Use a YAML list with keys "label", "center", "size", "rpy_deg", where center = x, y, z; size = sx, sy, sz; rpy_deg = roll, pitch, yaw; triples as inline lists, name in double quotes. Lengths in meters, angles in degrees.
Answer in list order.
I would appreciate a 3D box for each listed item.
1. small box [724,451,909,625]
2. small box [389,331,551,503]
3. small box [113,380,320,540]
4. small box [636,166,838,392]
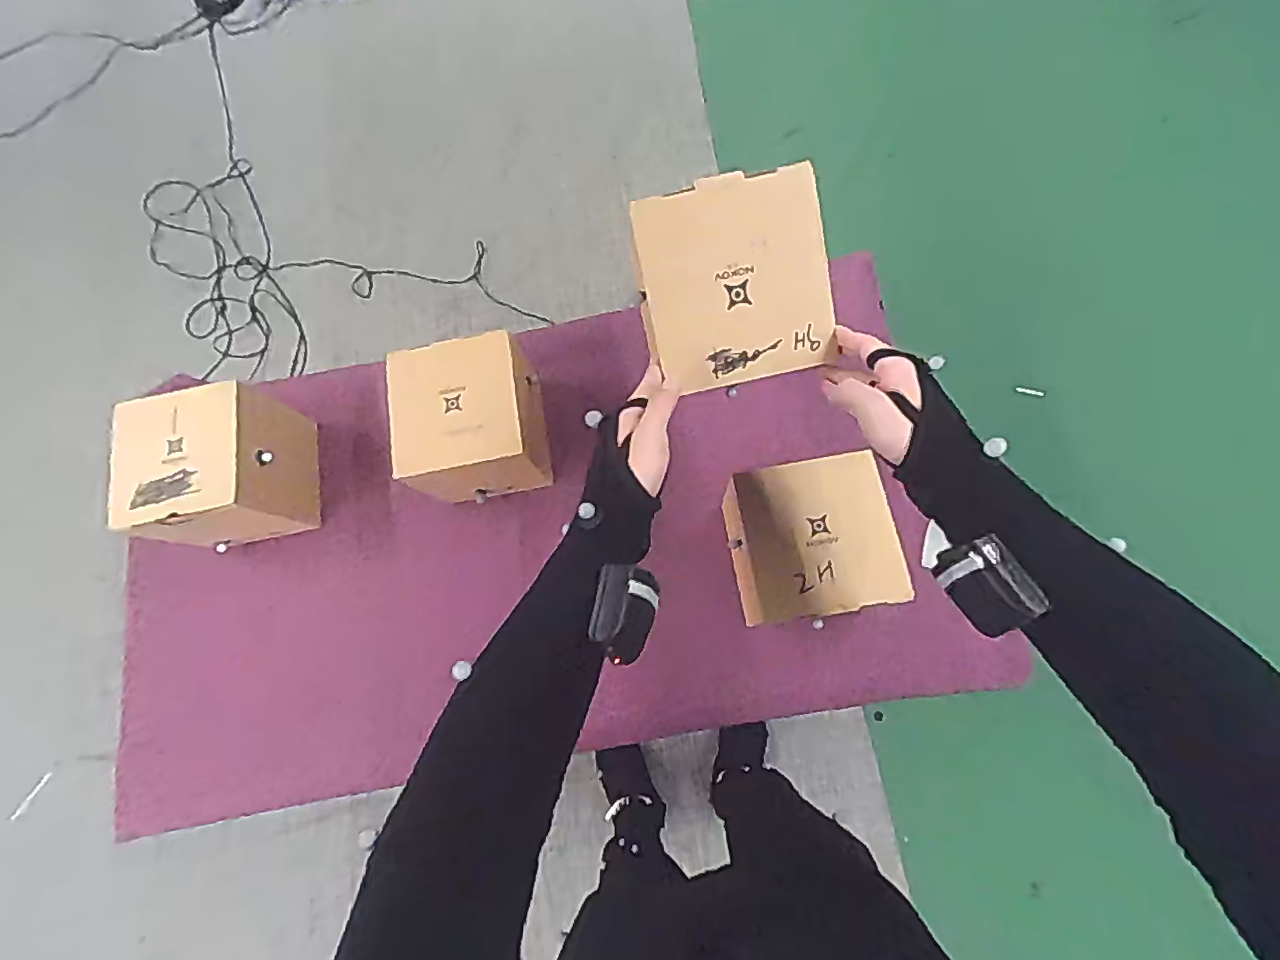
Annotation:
- label: "small box"
  center: [0.203, 0.082, 0.680]
  size: [0.168, 0.176, 0.179]
  rpy_deg: [-9, 74, 3]
- label: "small box"
  center: [-0.231, -0.079, 0.761]
  size: [0.168, 0.176, 0.179]
  rpy_deg: [-10, 75, 2]
- label: "small box"
  center: [-0.584, -0.016, 0.768]
  size: [0.168, 0.176, 0.179]
  rpy_deg: [-11, 74, 1]
- label: "small box"
  center: [0.090, -0.194, 0.573]
  size: [0.168, 0.176, 0.179]
  rpy_deg: [-12, 101, 2]
